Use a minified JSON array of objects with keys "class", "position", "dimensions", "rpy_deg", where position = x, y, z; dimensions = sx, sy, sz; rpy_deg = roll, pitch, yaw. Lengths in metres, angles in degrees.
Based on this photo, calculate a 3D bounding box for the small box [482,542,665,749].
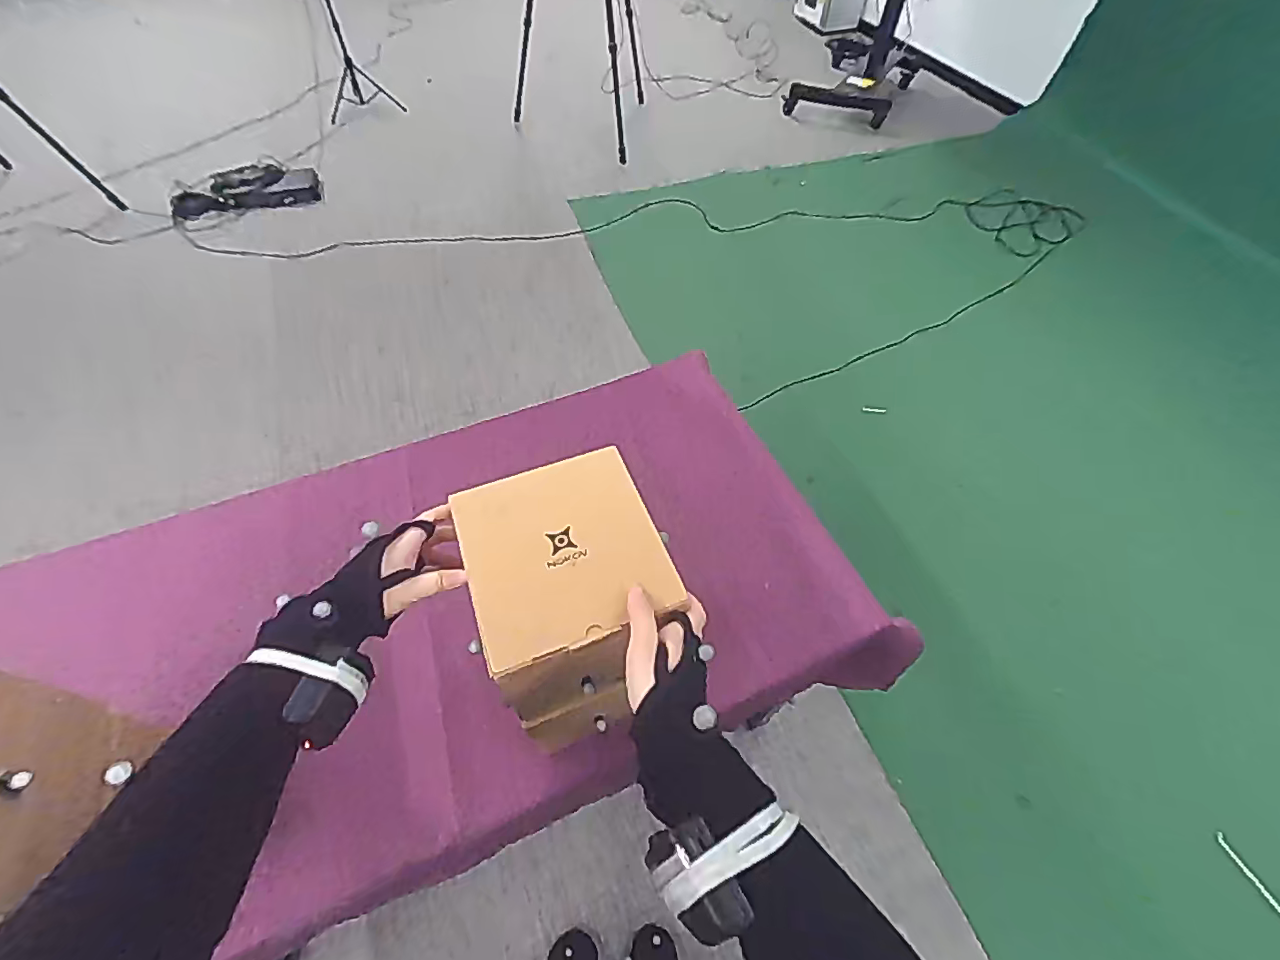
[{"class":"small box","position":[-0.079,0.210,0.664],"dimensions":[0.168,0.176,0.179],"rpy_deg":[-18,57,-14]}]
